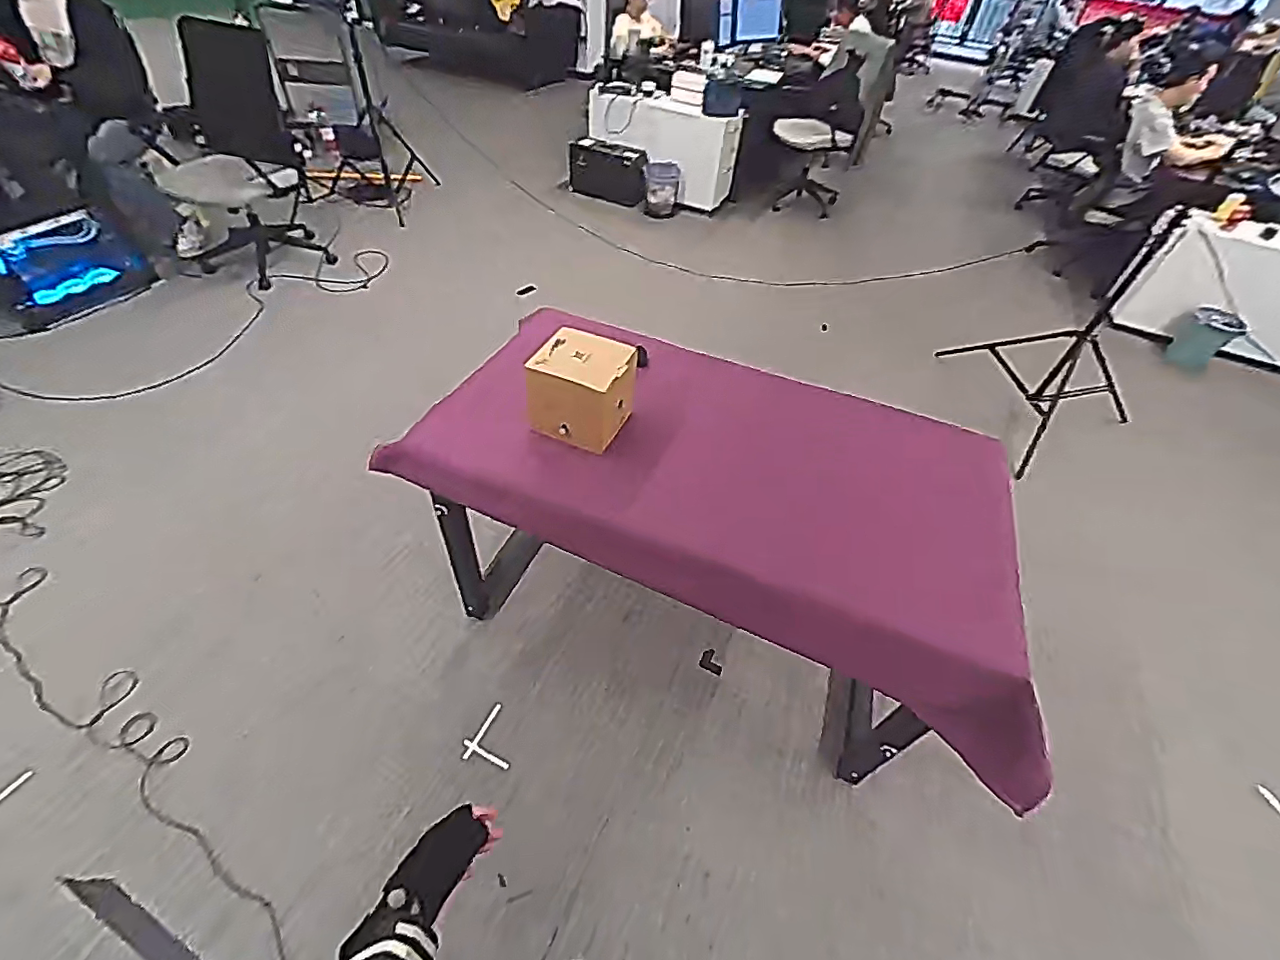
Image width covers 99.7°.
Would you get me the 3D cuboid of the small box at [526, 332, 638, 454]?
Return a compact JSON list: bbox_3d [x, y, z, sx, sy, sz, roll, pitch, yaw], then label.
[{"bbox_3d":[-0.121,-0.180,1.143,0.179,0.176,0.168,20,47,12],"label":"small box"}]
